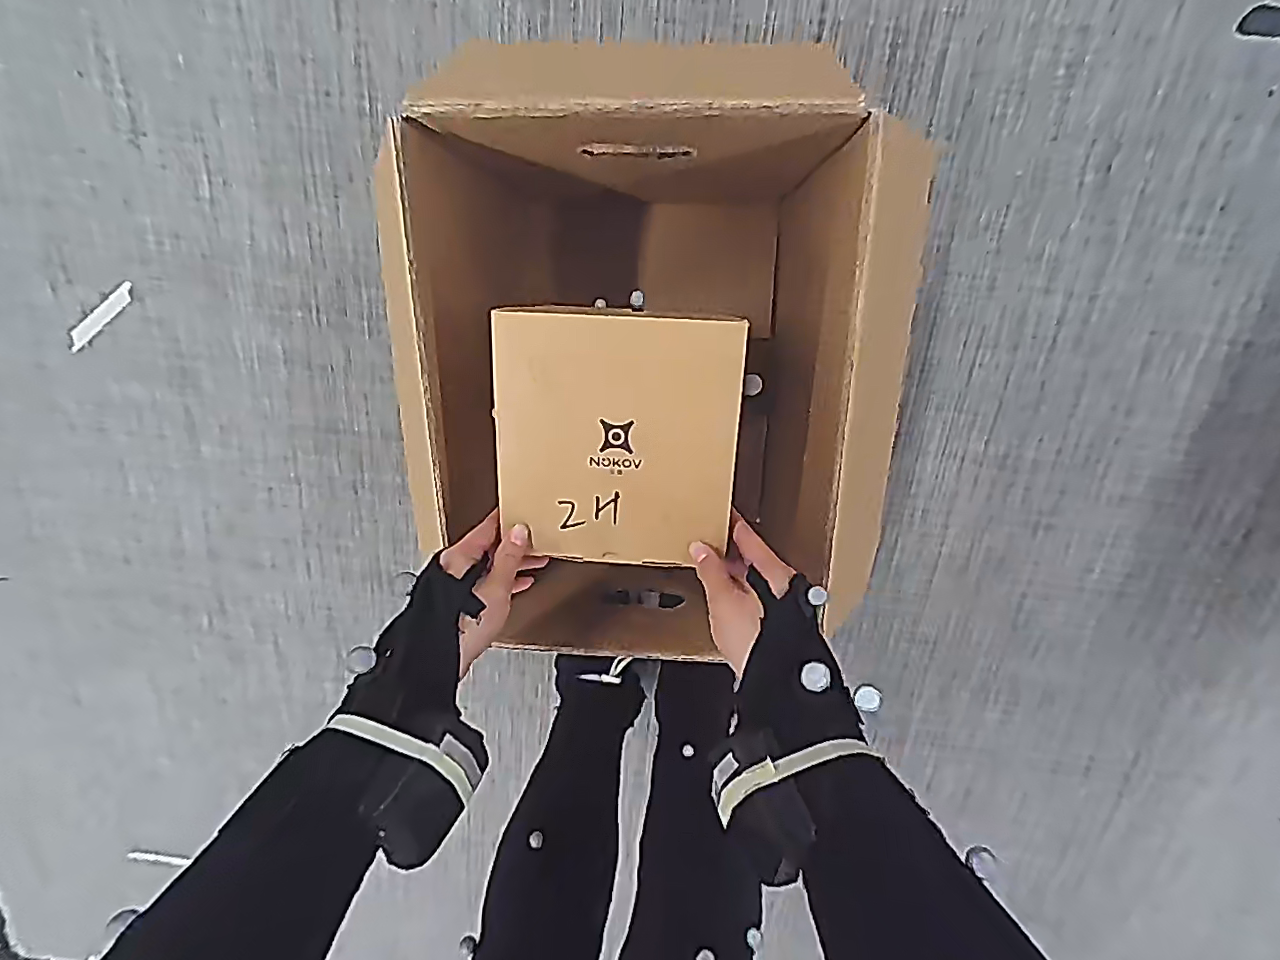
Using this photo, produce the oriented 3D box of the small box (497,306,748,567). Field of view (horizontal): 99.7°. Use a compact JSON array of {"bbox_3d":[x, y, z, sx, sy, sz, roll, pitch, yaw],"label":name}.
[{"bbox_3d":[-0.011,-0.048,0.446,0.168,0.176,0.179,3,109,3],"label":"small box"}]
